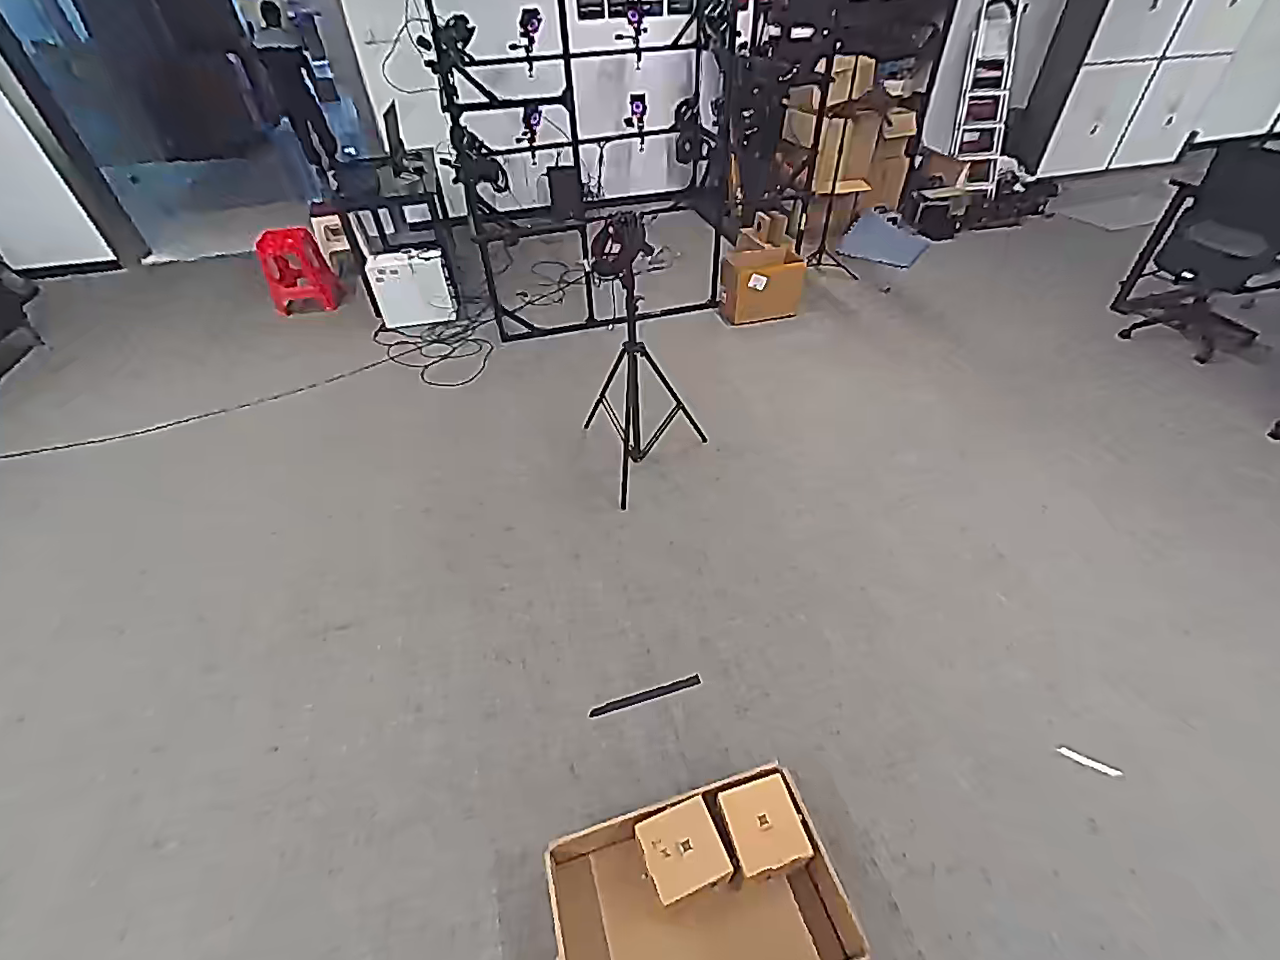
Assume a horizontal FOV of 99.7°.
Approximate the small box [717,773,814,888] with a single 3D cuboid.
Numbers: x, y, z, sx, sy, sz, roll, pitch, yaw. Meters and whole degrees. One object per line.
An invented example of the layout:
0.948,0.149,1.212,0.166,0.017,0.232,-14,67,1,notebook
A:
0.292,0.847,1.306,0.168,0.176,0.179,-13,47,-10,small box
